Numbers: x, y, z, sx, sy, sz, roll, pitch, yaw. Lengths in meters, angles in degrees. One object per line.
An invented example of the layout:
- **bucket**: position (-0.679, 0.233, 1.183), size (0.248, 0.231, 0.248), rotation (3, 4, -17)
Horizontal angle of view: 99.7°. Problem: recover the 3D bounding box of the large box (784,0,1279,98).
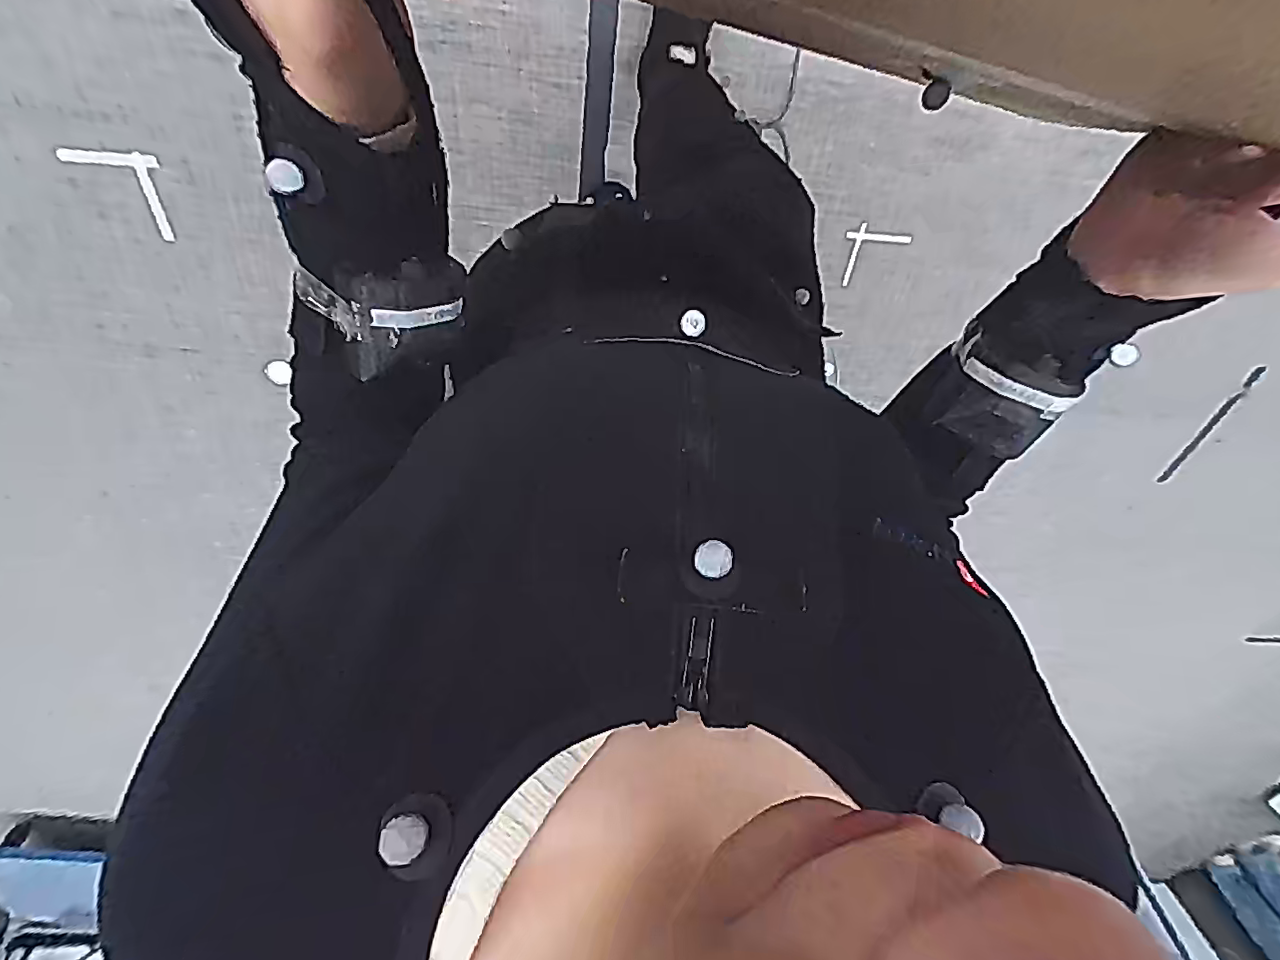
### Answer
- **large box**: position (0.119, -0.311, 0.109), size (0.408, 0.320, 0.320), rotation (5, 128, -11)
